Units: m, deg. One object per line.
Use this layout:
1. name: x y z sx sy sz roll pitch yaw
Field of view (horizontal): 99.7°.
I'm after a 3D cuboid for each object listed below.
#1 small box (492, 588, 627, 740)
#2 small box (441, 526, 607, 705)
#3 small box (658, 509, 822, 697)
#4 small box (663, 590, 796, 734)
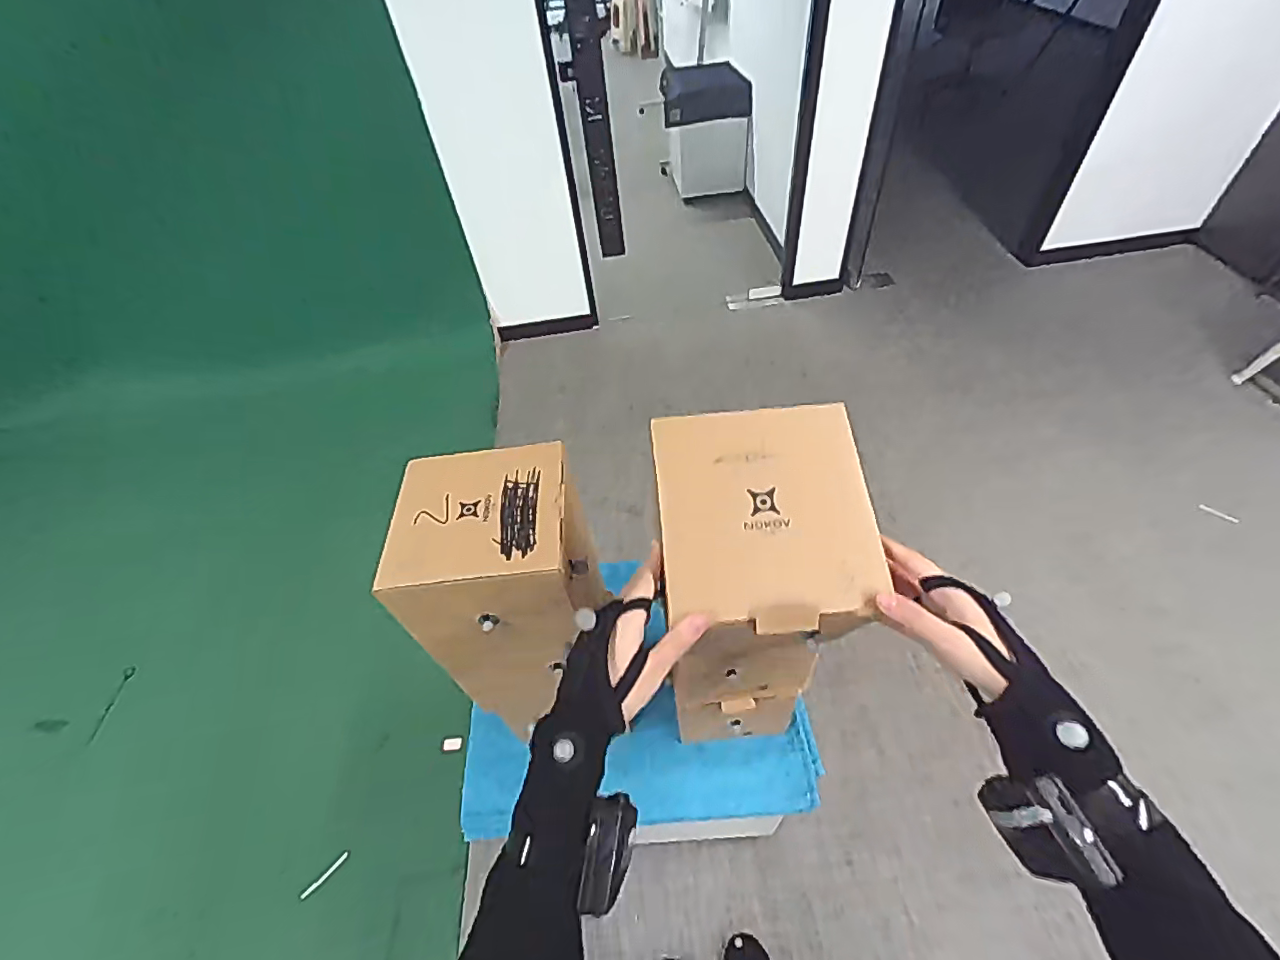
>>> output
1. small box: -0.114 0.288 0.840 0.179 0.176 0.168 -7 48 1
2. small box: -0.137 0.182 0.716 0.179 0.176 0.168 -7 48 1
3. small box: 0.121 0.166 0.703 0.168 0.176 0.179 -9 47 0
4. small box: 0.129 0.275 0.824 0.168 0.176 0.179 -6 49 1
